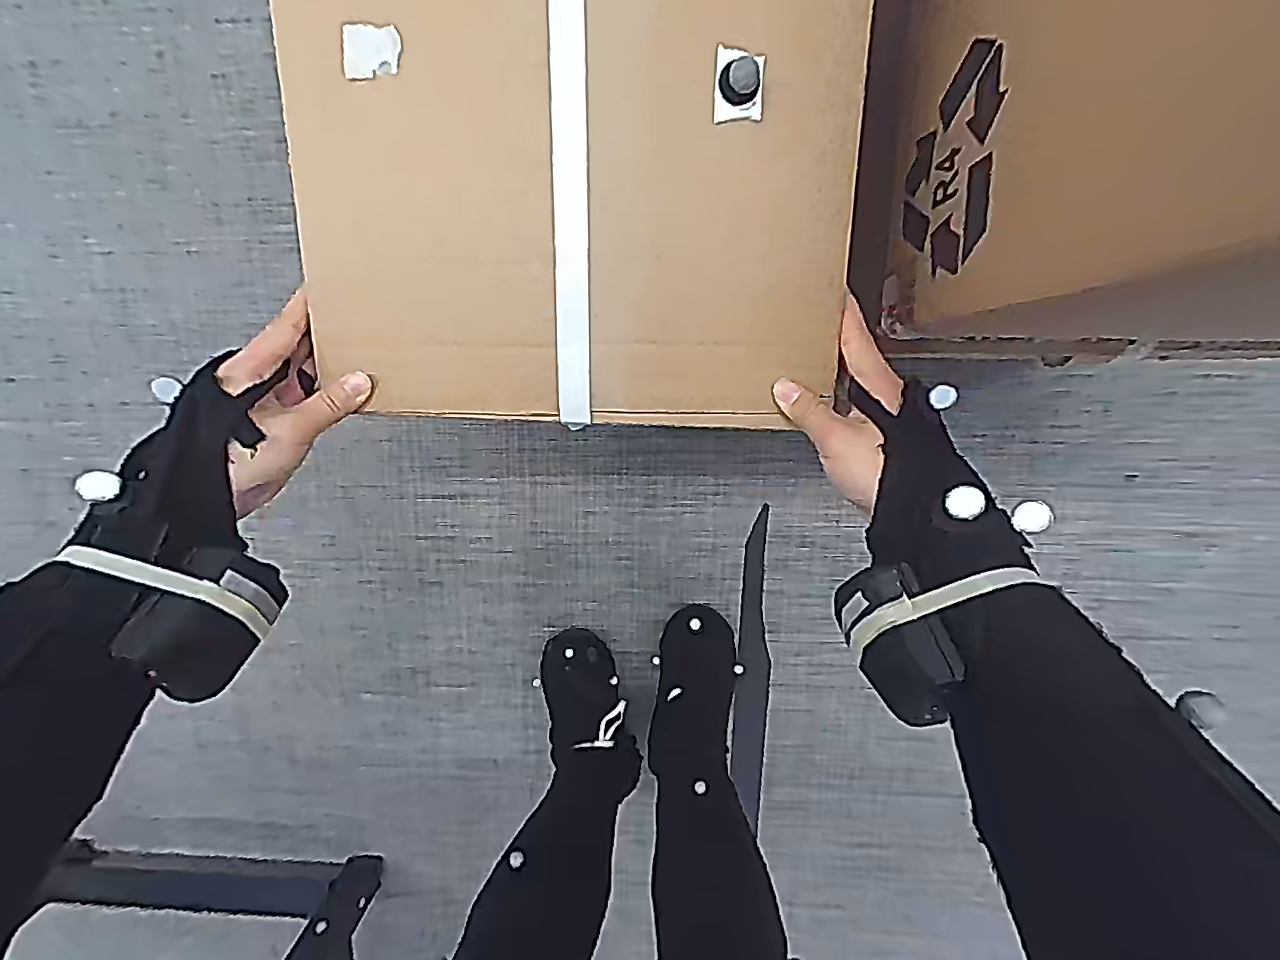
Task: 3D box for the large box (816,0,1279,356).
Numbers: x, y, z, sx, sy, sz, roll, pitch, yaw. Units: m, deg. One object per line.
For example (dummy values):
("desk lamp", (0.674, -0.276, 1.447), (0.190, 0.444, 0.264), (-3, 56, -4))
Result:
("large box", (0.369, -0.329, 0.514), (0.320, 0.320, 0.408), (-1, 103, 3))
